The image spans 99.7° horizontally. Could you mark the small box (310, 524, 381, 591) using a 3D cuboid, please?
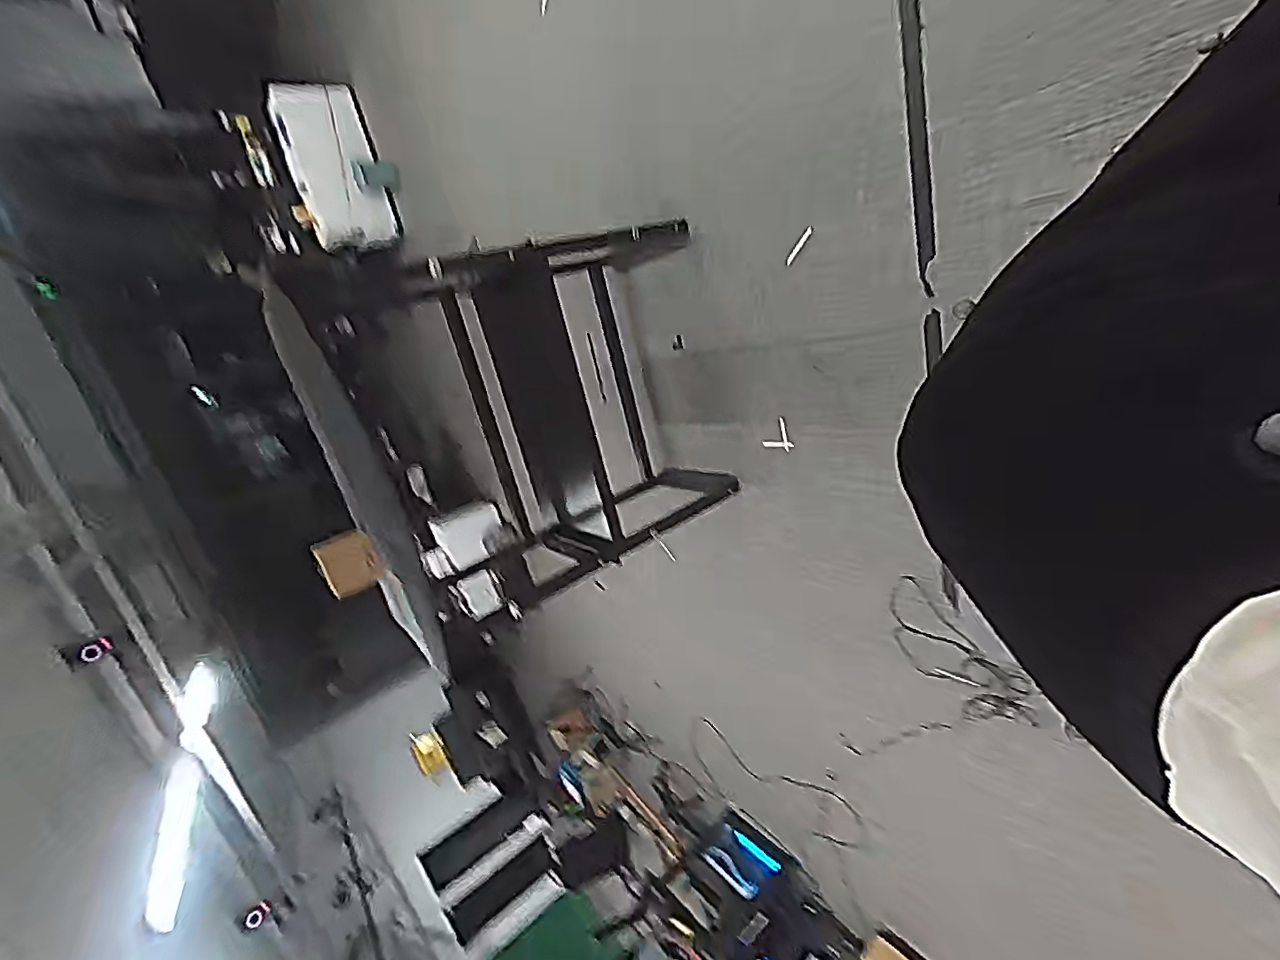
[{"bbox_3d":[-1.038,0.267,1.907,0.179,0.176,0.168,1,113,55],"label":"small box"}]
